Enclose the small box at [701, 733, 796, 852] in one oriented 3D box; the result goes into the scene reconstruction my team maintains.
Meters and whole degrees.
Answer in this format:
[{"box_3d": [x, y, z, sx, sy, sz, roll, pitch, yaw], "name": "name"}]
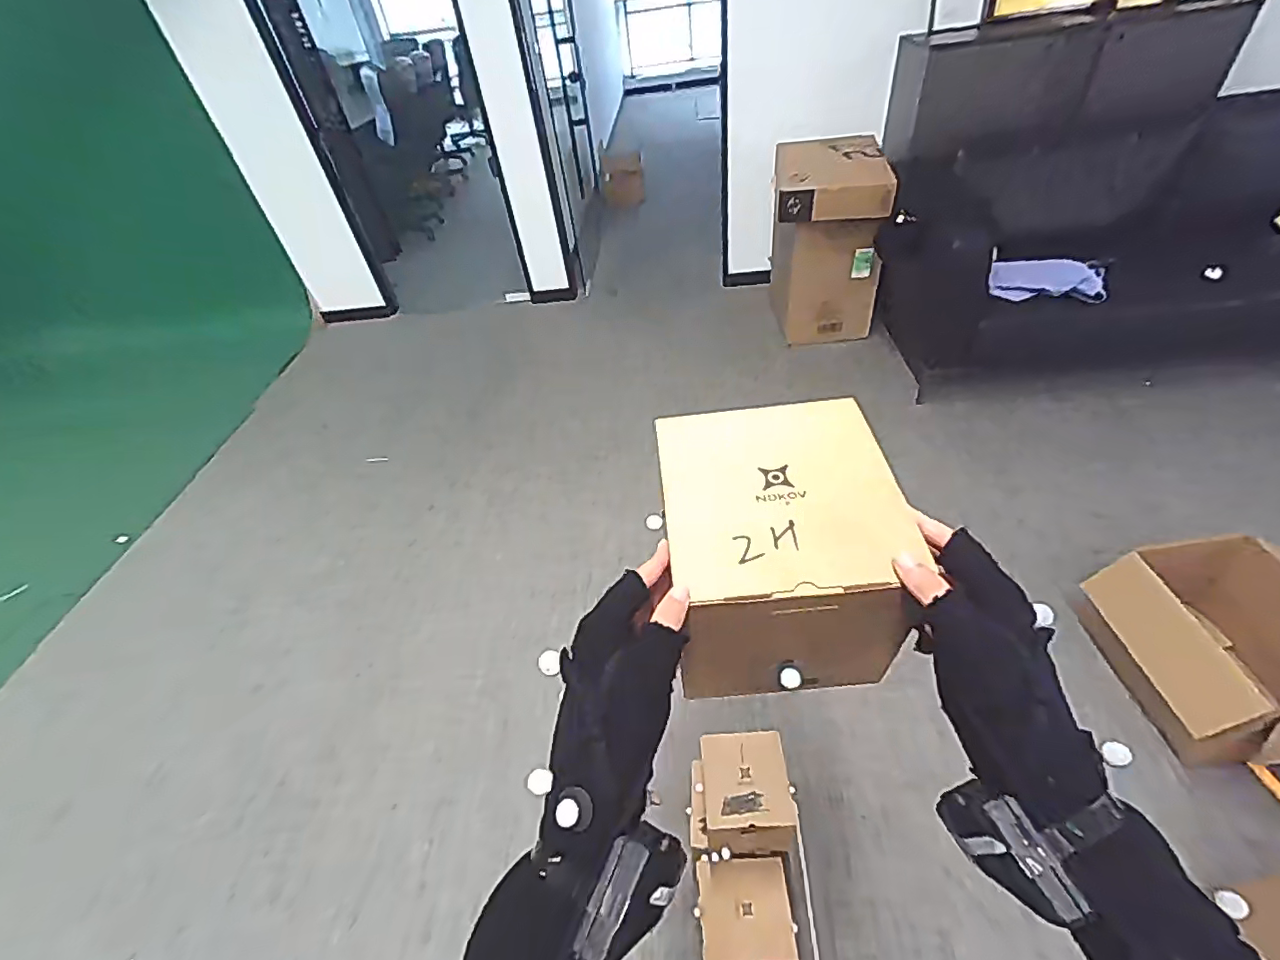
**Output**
[{"box_3d": [0.216, 0.642, 1.103, 0.168, 0.176, 0.179, -4, 42, 4], "name": "small box"}]
